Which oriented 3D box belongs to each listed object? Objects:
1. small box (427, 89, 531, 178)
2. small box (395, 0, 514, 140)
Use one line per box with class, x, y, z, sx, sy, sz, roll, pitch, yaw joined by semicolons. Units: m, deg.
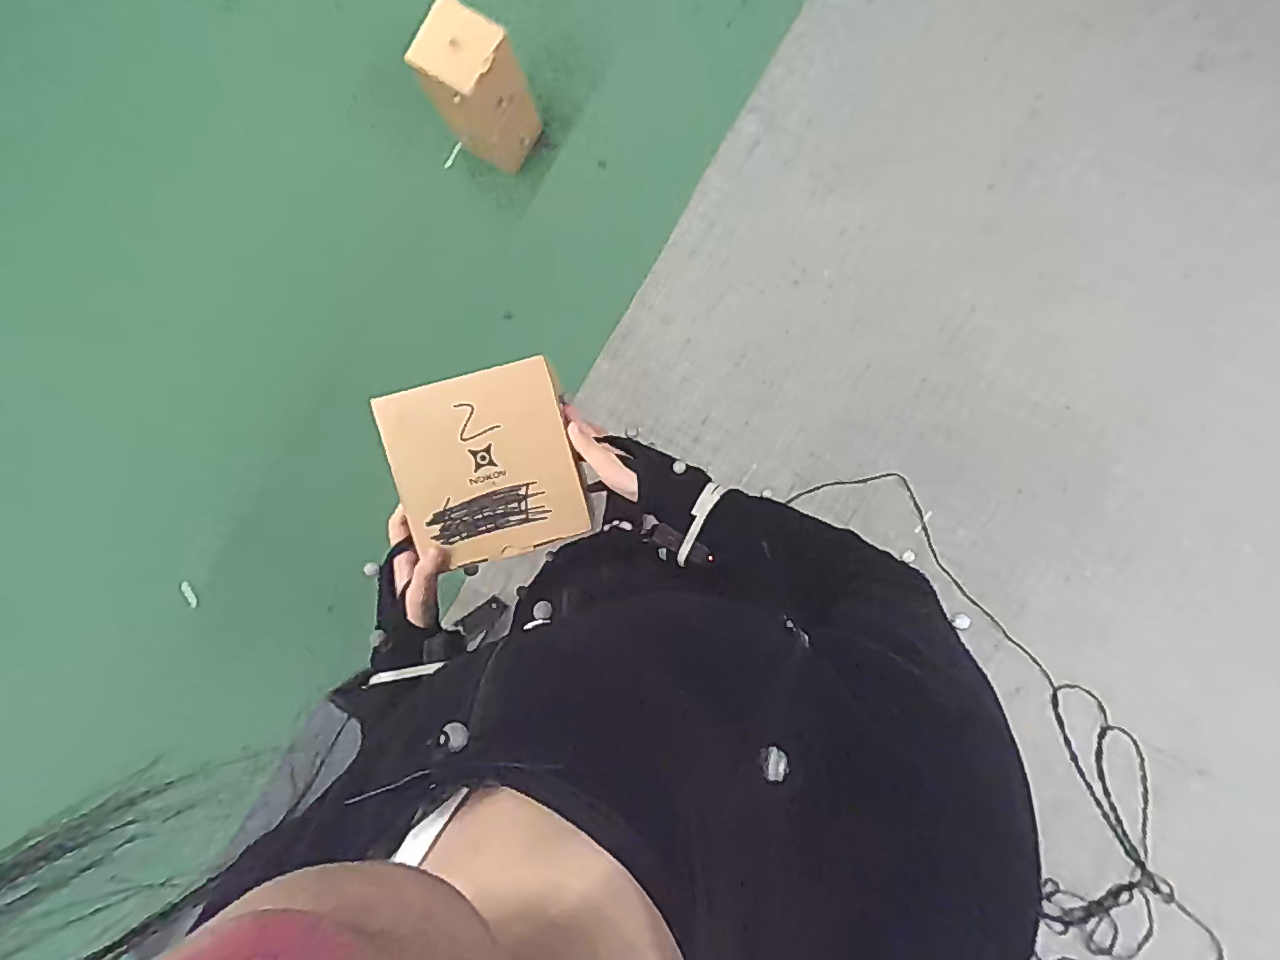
small box;-0.418;-0.947;1.431;0.179;0.176;0.168;32;92;2
small box;-0.426;-0.949;1.269;0.179;0.176;0.168;30;91;2
